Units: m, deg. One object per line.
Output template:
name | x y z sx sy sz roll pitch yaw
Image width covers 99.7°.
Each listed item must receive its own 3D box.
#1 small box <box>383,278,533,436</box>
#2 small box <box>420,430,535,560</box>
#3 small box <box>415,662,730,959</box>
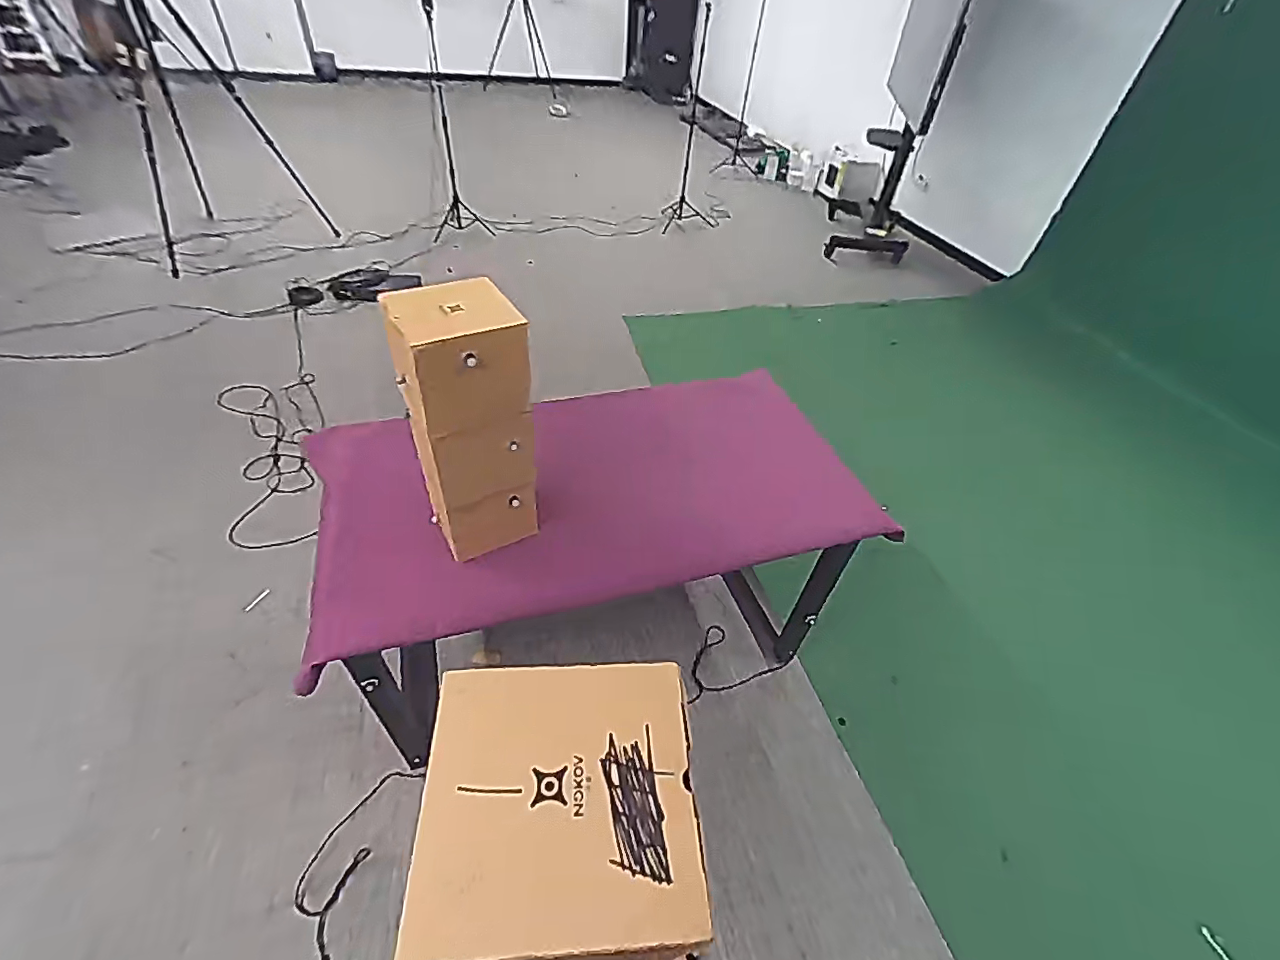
small box | -0.284 -0.197 0.863 0.179 0.176 0.168 -21 52 -27
small box | -0.324 0.031 1.094 0.179 0.176 0.168 -20 50 -26
small box | -0.048 0.252 0.407 0.179 0.176 0.168 2 45 -7
